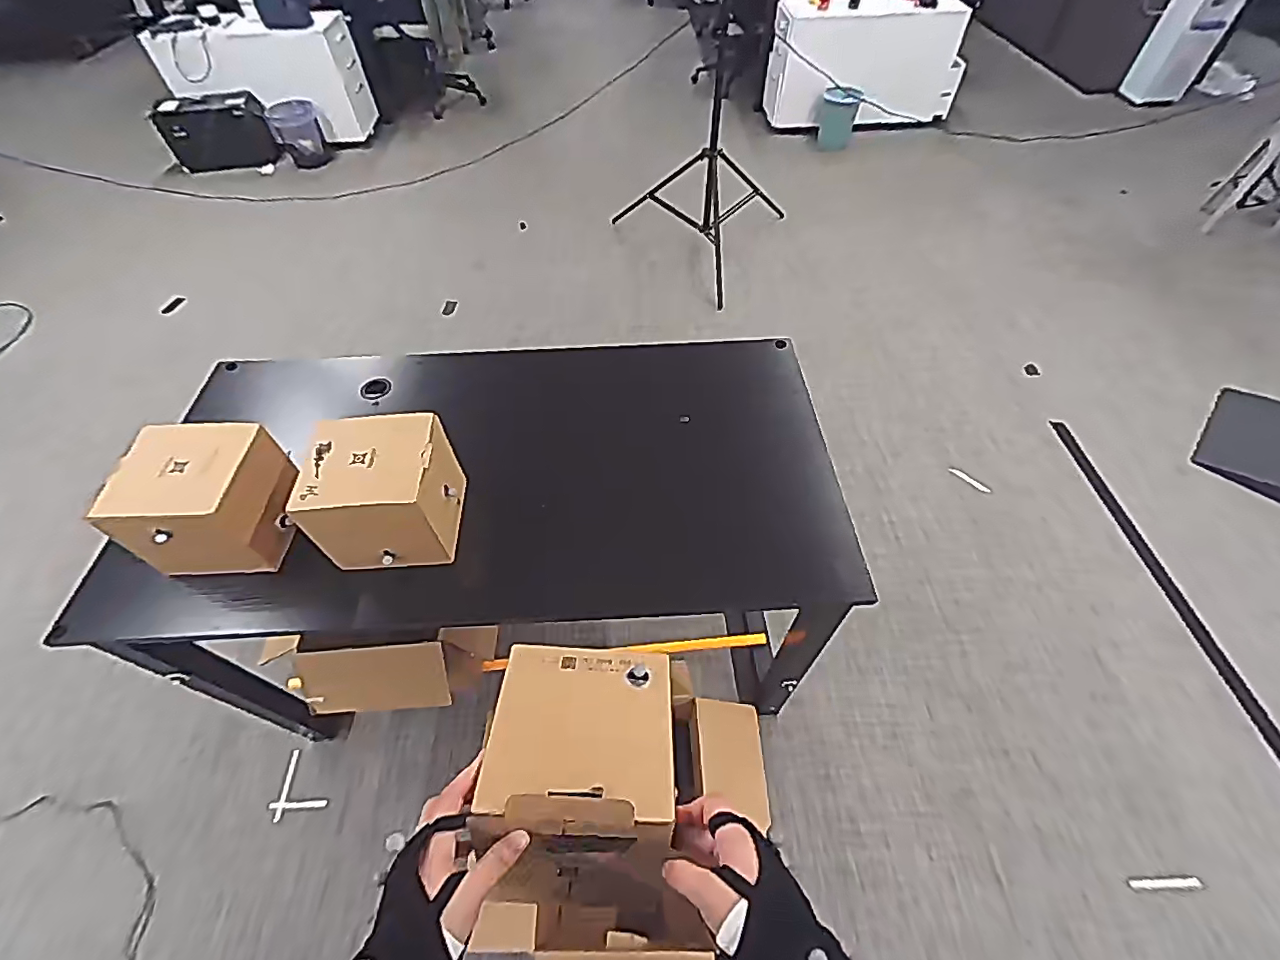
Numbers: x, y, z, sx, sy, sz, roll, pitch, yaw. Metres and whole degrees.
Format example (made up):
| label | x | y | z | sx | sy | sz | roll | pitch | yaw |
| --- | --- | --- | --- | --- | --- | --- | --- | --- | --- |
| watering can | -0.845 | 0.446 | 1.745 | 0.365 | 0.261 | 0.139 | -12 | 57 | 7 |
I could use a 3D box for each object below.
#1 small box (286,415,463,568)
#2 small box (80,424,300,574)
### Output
| label | x | y | z | sx | sy | sz | roll | pitch | yaw |
| --- | --- | --- | --- | --- | --- | --- | --- | --- | --- |
| small box | -0.380 | 0.020 | 0.818 | 0.179 | 0.176 | 0.168 | -4 | 53 | -2 |
| small box | -0.643 | 0.032 | 0.813 | 0.179 | 0.176 | 0.168 | -1 | 53 | -1 |
